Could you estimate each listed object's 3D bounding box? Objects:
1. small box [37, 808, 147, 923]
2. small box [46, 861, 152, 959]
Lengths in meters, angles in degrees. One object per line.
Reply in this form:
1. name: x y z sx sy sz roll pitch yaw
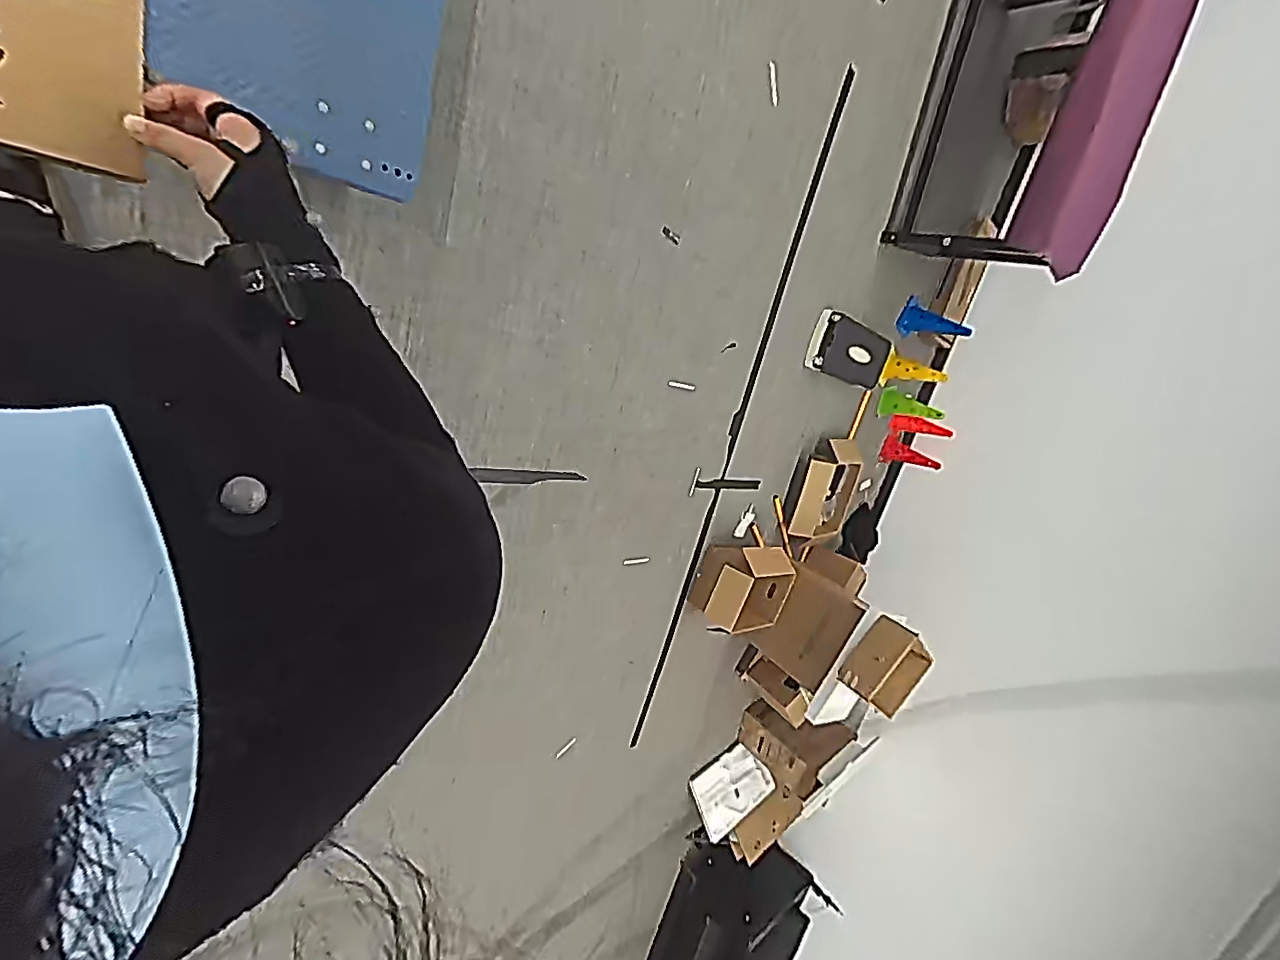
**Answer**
1. small box: -1.354 0.973 1.348 0.168 0.176 0.179 -14 121 -40
2. small box: -1.245 1.041 1.247 0.168 0.176 0.179 2 111 -45
